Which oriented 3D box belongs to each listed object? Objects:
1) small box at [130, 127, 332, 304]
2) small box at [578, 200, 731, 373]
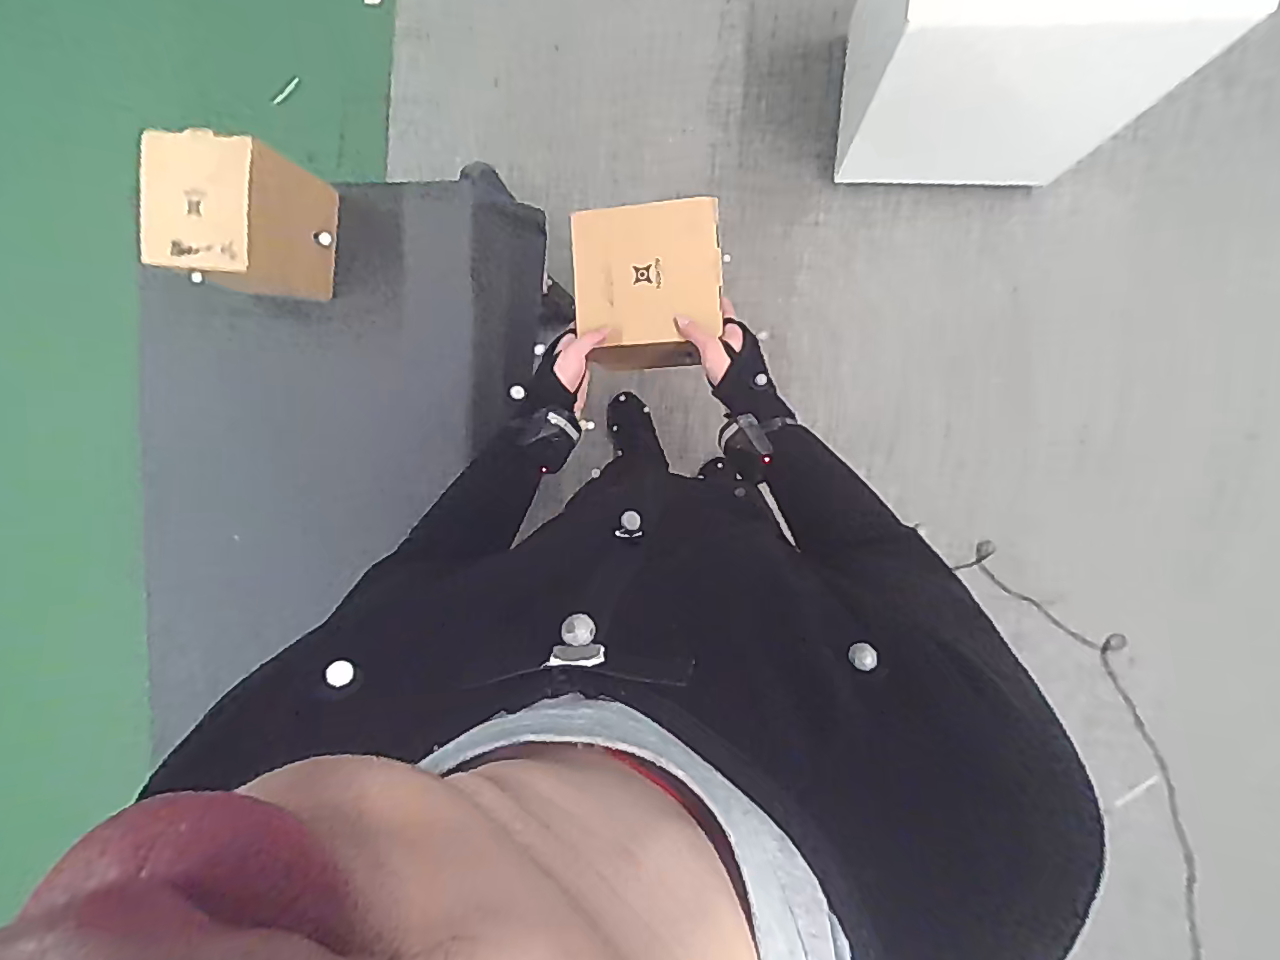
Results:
[{"bbox_3d":[-0.580,-0.372,0.786,0.168,0.176,0.179,8,96,6],"label":"small box"},{"bbox_3d":[0.024,-0.239,0.708,0.179,0.176,0.168,-3,91,8],"label":"small box"}]
